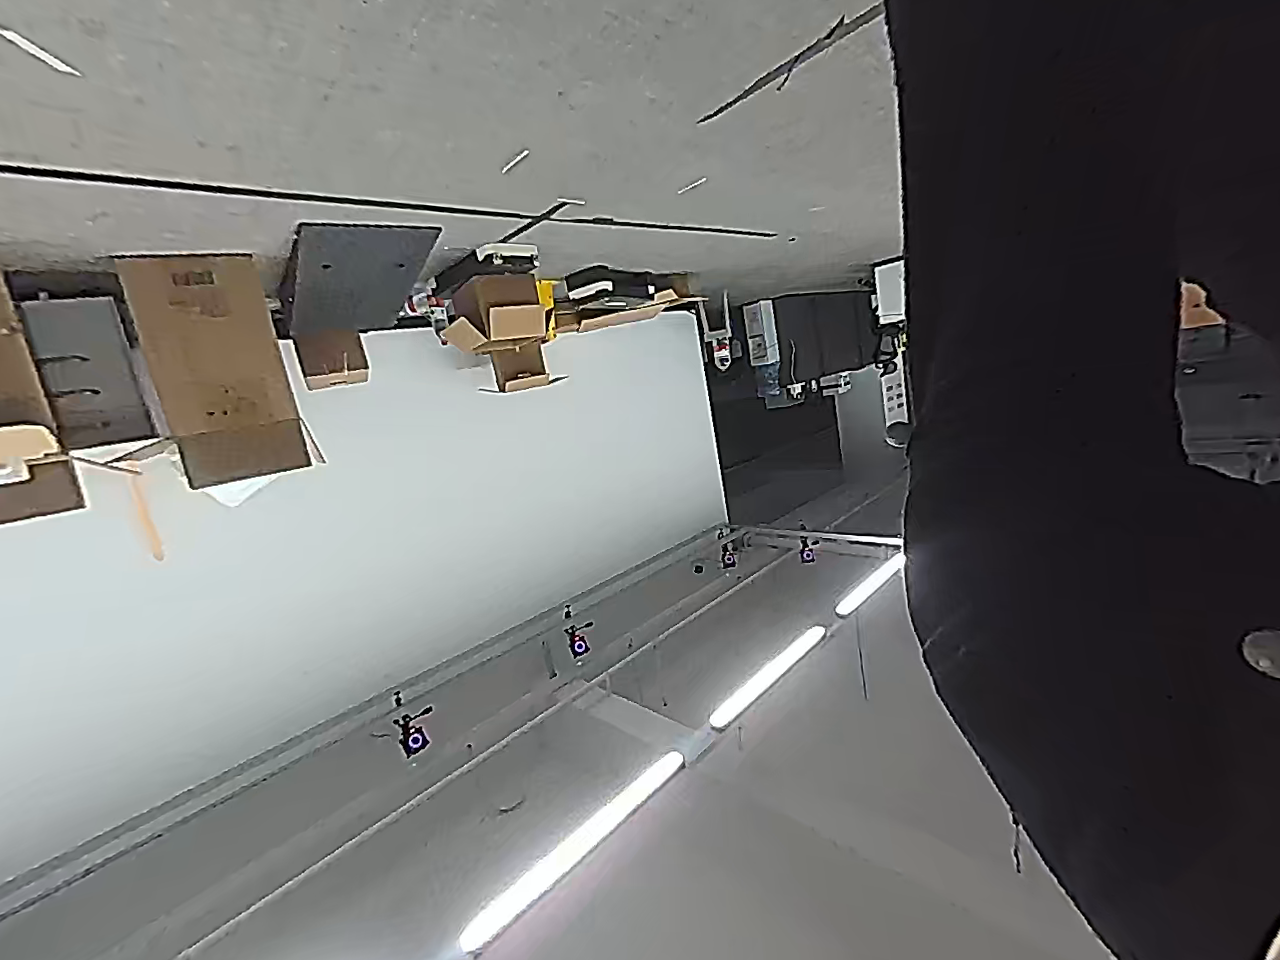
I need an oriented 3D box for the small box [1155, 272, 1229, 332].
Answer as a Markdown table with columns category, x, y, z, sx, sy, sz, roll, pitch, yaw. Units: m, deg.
| category | x | y | z | sx | sy | sz | roll | pitch | yaw |
| --- | --- | --- | --- | --- | --- | --- | --- | --- | --- |
| small box | 1.964 | -0.633 | 1.927 | 0.179 | 0.176 | 0.168 | -1 | -168 | 46 |
